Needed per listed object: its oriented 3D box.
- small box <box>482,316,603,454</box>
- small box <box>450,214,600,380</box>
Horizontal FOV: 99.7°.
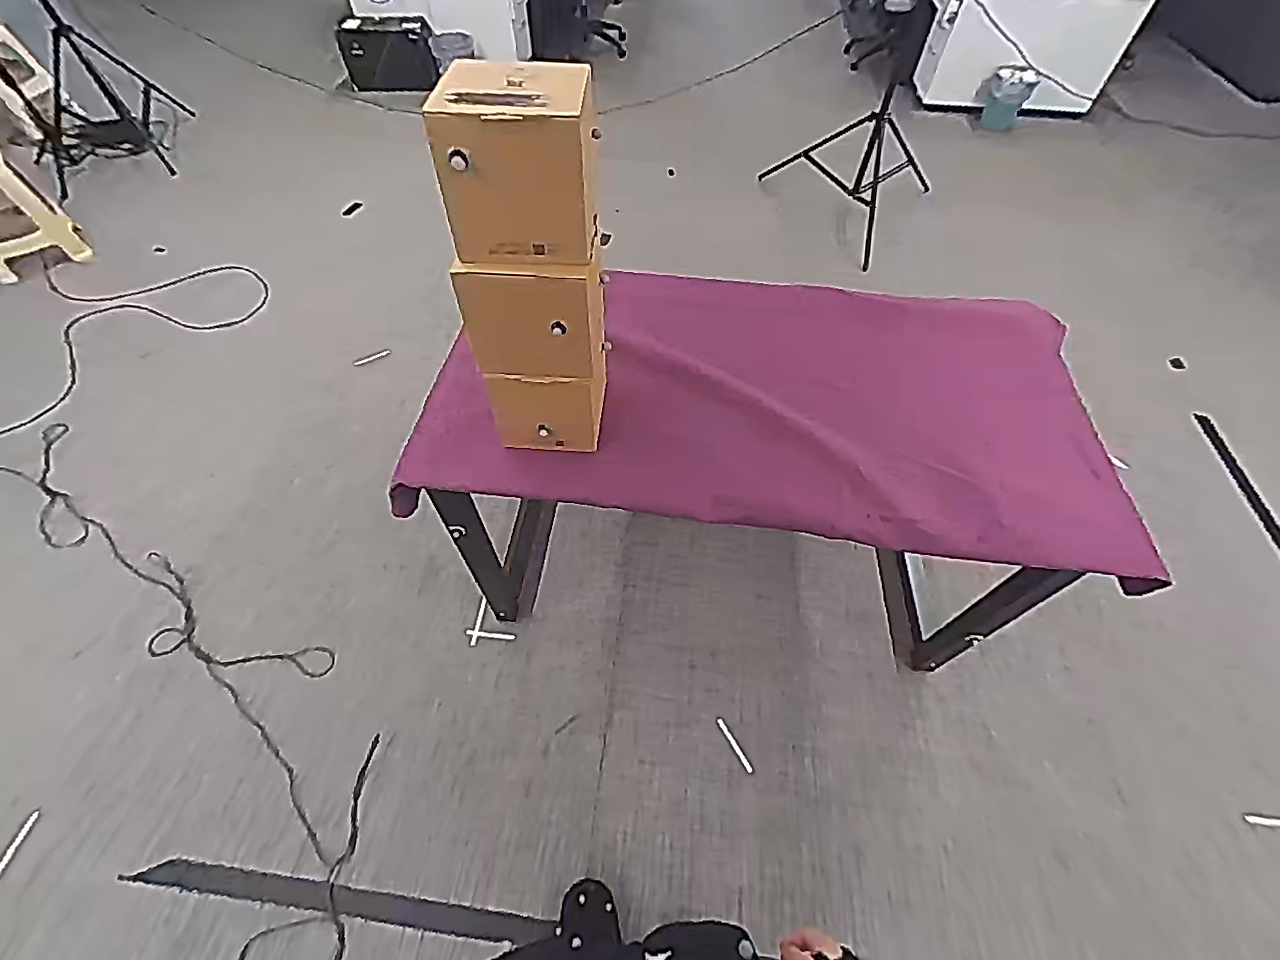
[{"bbox_3d":[-0.154,-0.167,0.921,0.168,0.176,0.179,3,54,2],"label":"small box"},{"bbox_3d":[-0.152,-0.263,0.790,0.179,0.176,0.168,2,52,1],"label":"small box"}]
